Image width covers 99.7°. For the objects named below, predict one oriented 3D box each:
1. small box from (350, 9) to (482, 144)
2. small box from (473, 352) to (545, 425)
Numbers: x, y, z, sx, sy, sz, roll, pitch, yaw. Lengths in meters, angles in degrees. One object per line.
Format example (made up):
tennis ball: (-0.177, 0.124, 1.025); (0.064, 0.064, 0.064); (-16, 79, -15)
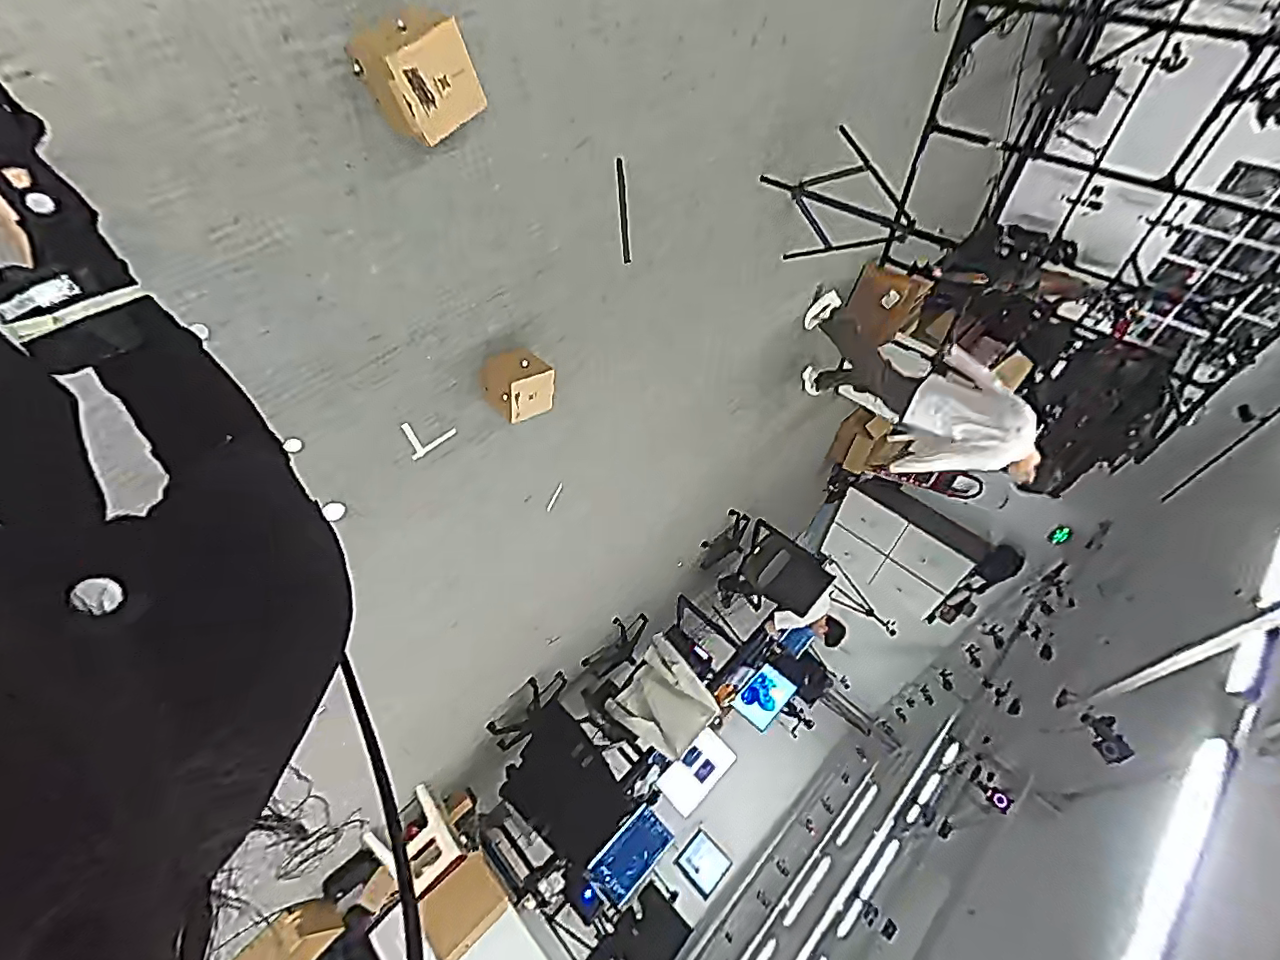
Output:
small box: (-0.478, -0.854, 1.144); (0.179, 0.176, 0.168); (-45, 153, -16)
small box: (-0.448, -0.319, 1.848); (0.179, 0.176, 0.168); (-29, 145, -39)
